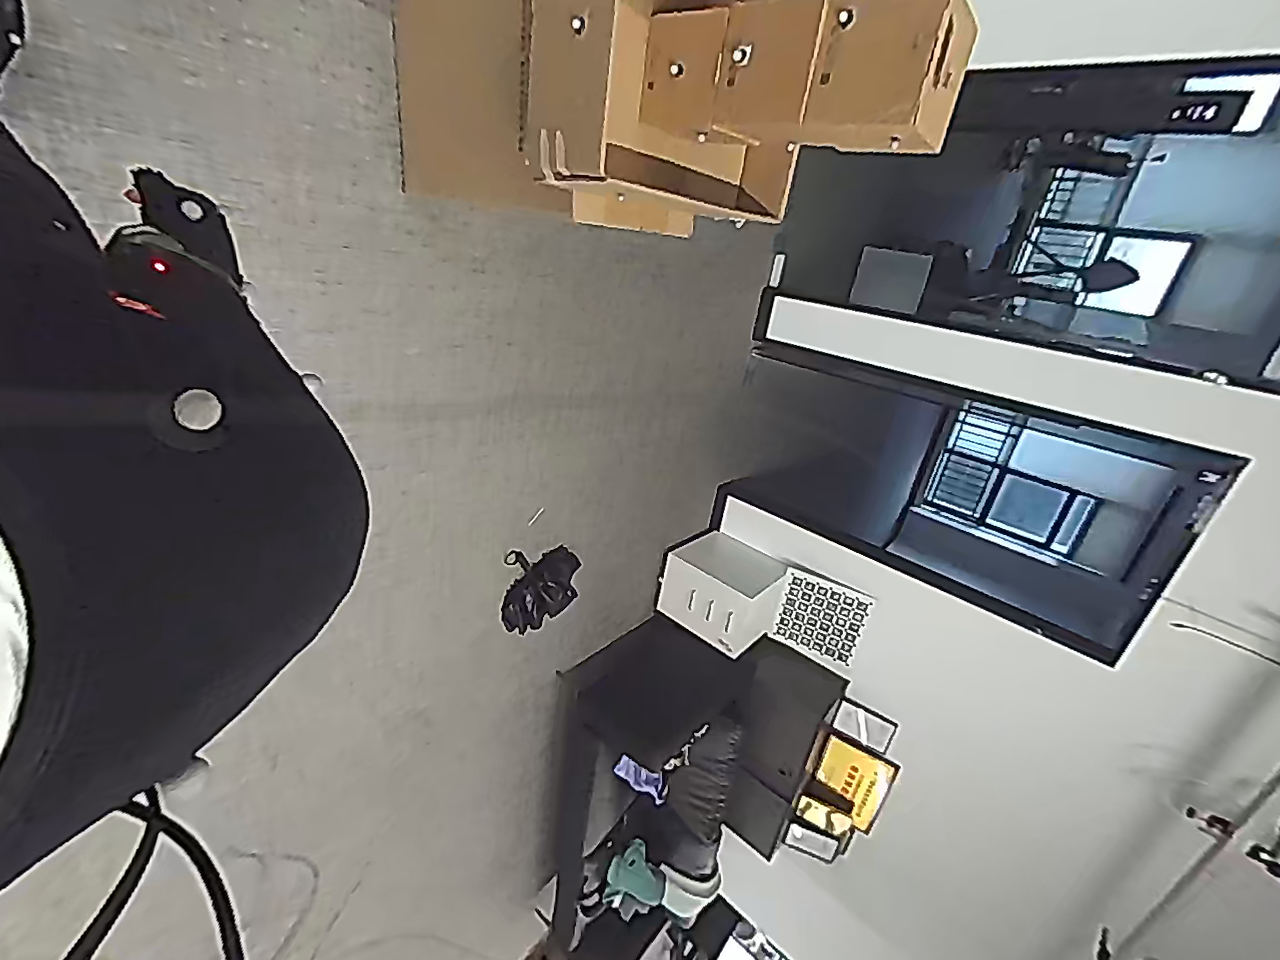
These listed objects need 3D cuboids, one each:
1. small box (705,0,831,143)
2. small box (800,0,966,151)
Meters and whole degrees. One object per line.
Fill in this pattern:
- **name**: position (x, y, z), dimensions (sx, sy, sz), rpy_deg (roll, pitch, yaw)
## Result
- **small box**: position (0.234, -0.679, 0.907), dimensions (0.179, 0.176, 0.168), rpy_deg (-24, 130, -45)
- **small box**: position (0.366, -0.619, 0.828), dimensions (0.179, 0.176, 0.168), rpy_deg (-22, 129, -49)
